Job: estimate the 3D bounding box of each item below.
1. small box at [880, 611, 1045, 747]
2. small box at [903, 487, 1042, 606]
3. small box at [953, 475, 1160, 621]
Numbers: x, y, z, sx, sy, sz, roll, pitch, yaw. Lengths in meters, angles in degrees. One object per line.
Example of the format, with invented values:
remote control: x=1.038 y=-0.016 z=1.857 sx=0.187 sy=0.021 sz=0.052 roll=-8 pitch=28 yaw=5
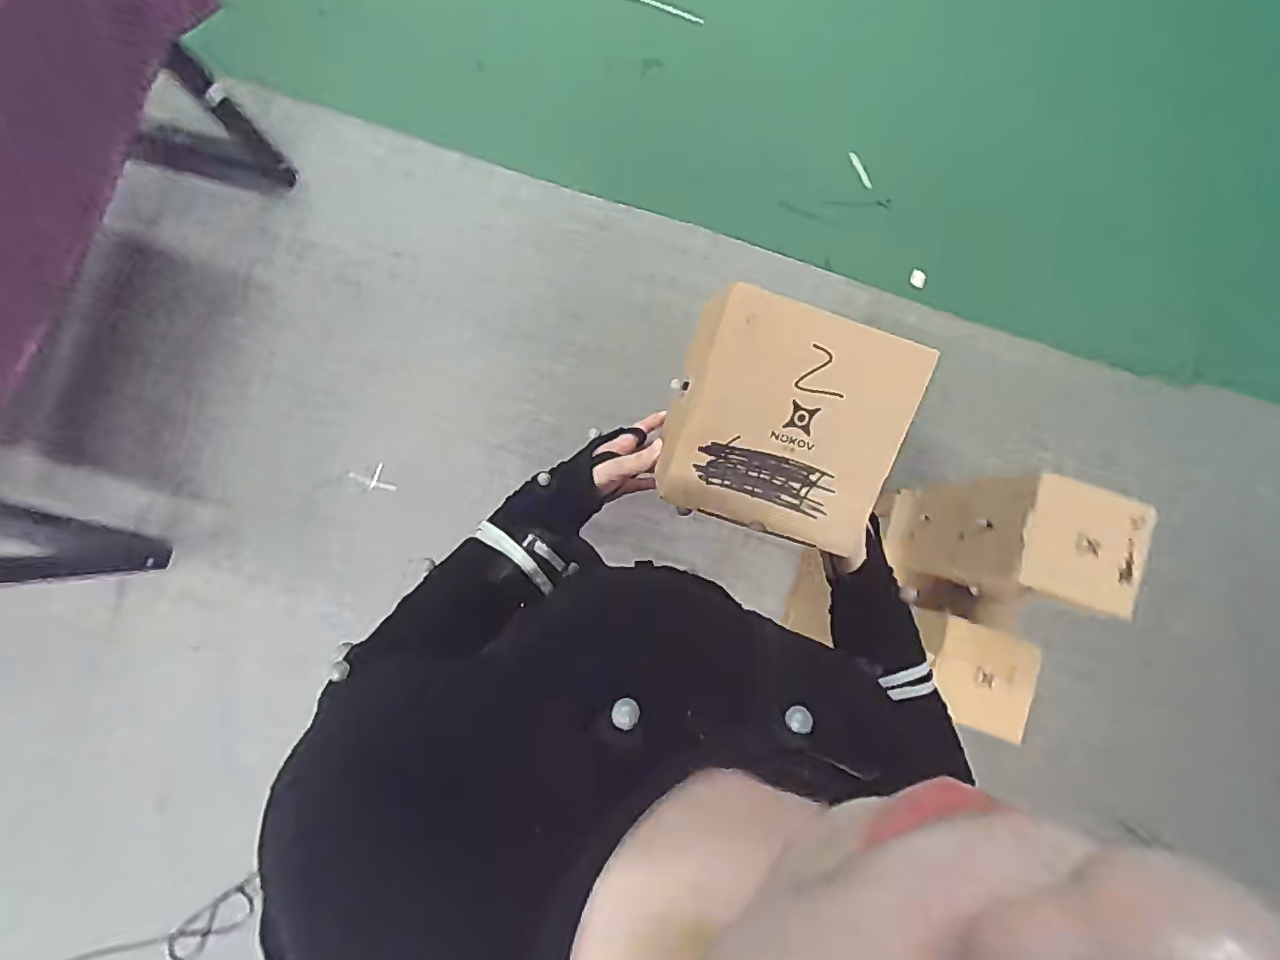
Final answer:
small box: x=0.571 y=0.346 z=0.980 sx=0.179 sy=0.176 sz=0.168 roll=21 pitch=83 yaw=-2
small box: x=0.630 y=0.118 z=1.006 sx=0.179 sy=0.176 sz=0.168 roll=18 pitch=85 yaw=1
small box: x=0.631 y=0.103 z=0.842 sx=0.179 sy=0.176 sz=0.168 roll=19 pitch=85 yaw=1
